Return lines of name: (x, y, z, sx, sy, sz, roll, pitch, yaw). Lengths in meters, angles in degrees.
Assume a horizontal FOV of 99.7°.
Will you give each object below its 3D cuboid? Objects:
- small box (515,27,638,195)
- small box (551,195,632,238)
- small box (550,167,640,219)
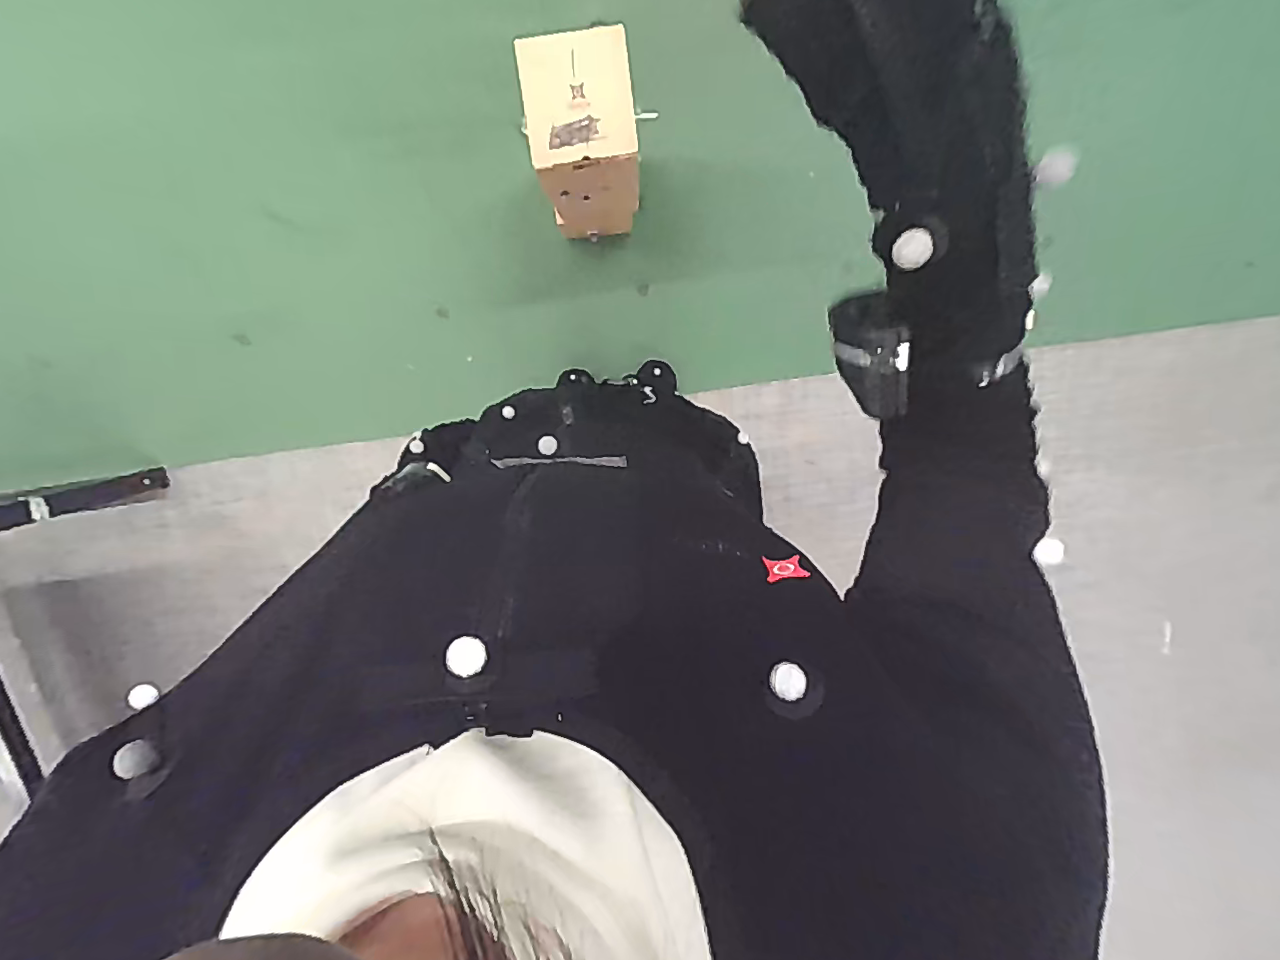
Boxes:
small box: (-0.093, -0.585, 0.886, 0.168, 0.176, 0.179, -7, 102, 1)
small box: (-0.105, -0.648, 1.189, 0.168, 0.176, 0.179, -4, 103, 2)
small box: (-0.093, -0.623, 1.047, 0.168, 0.176, 0.179, -7, 102, 1)
